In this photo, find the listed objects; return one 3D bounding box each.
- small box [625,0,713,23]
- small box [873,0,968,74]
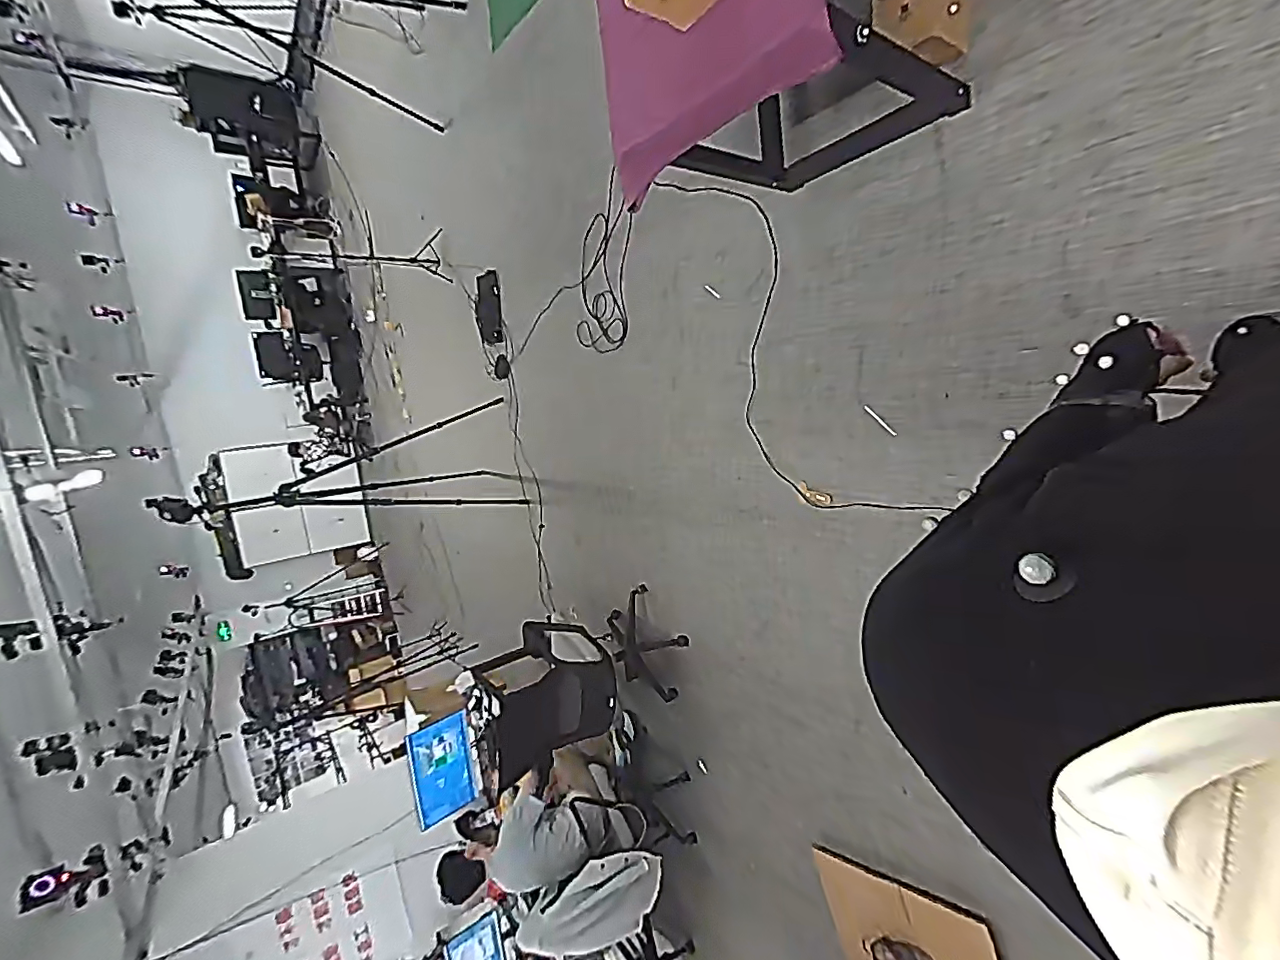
[{"bbox_3d":[0.077,-1.047,1.051,0.179,0.176,0.168,7,106,54],"label":"small box"},{"bbox_3d":[0.718,-1.178,1.382,0.168,0.176,0.179,9,109,52],"label":"small box"}]
